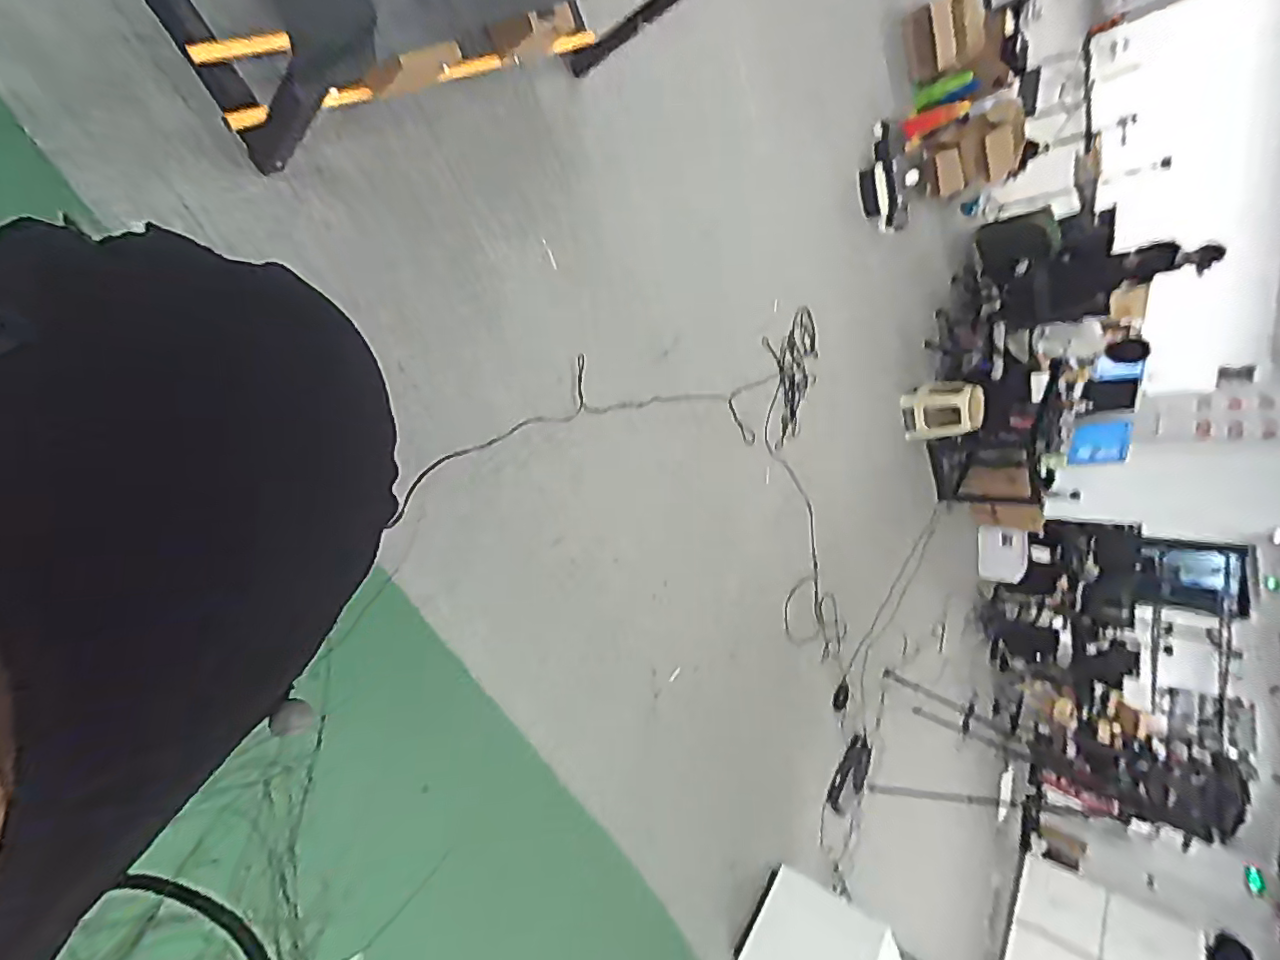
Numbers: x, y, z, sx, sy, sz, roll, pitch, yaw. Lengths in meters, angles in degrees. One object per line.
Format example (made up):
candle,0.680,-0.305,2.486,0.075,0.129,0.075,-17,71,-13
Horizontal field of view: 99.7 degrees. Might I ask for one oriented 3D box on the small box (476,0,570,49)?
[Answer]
small box,-0.329,-1.313,1.473,0.168,0.176,0.179,-43,122,-35
